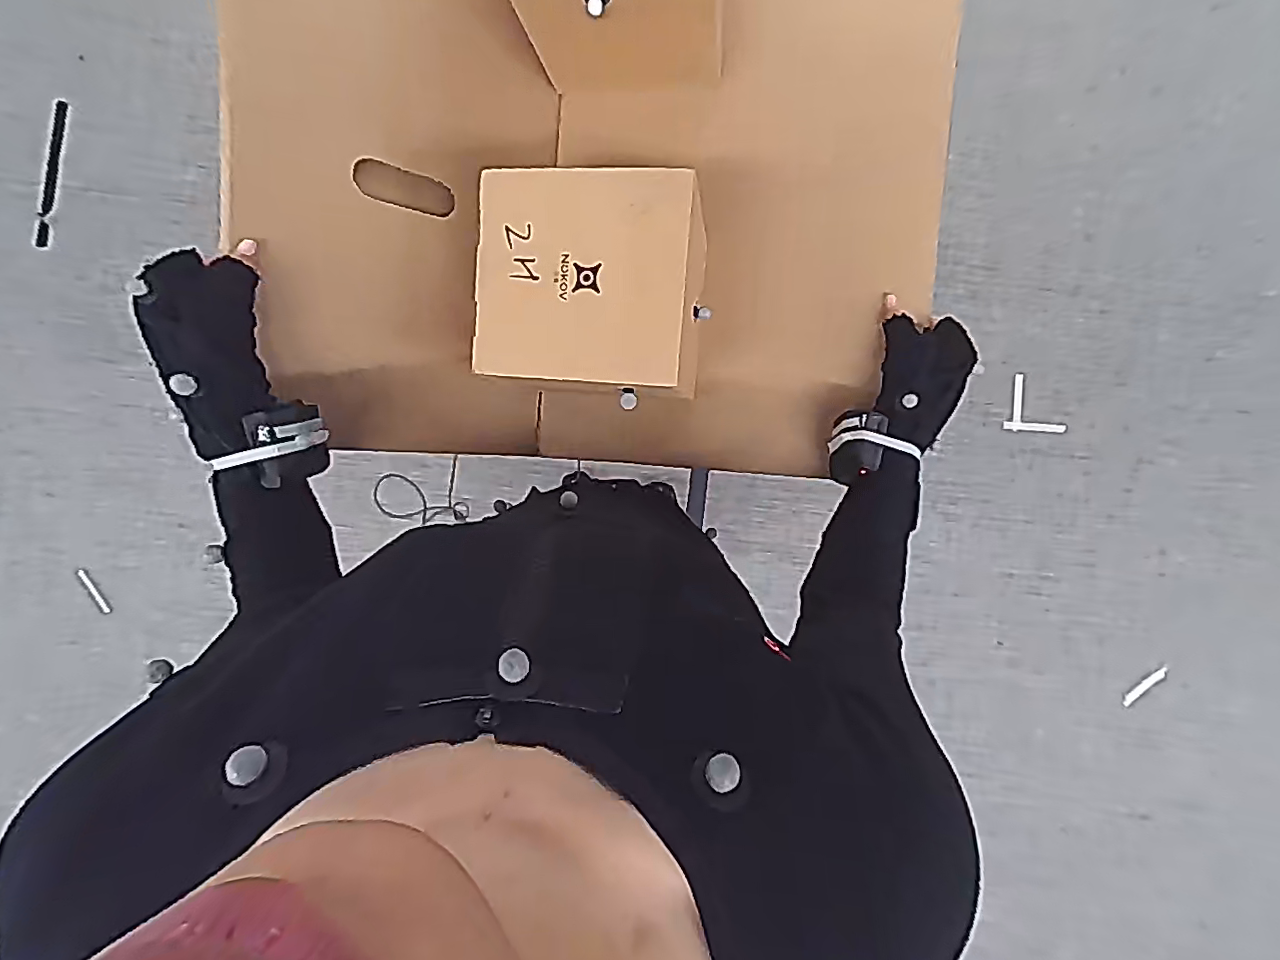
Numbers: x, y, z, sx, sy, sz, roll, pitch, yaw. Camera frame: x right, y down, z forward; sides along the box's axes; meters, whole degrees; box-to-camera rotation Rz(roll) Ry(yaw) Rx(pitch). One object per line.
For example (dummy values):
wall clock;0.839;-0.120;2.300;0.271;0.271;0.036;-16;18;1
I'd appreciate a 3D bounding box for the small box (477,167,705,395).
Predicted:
small box;-0.034;-0.174;0.518;0.179;0.176;0.168;6;95;10

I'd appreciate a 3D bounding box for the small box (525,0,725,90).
small box;-0.012;-0.491;0.491;0.179;0.176;0.168;4;95;9
